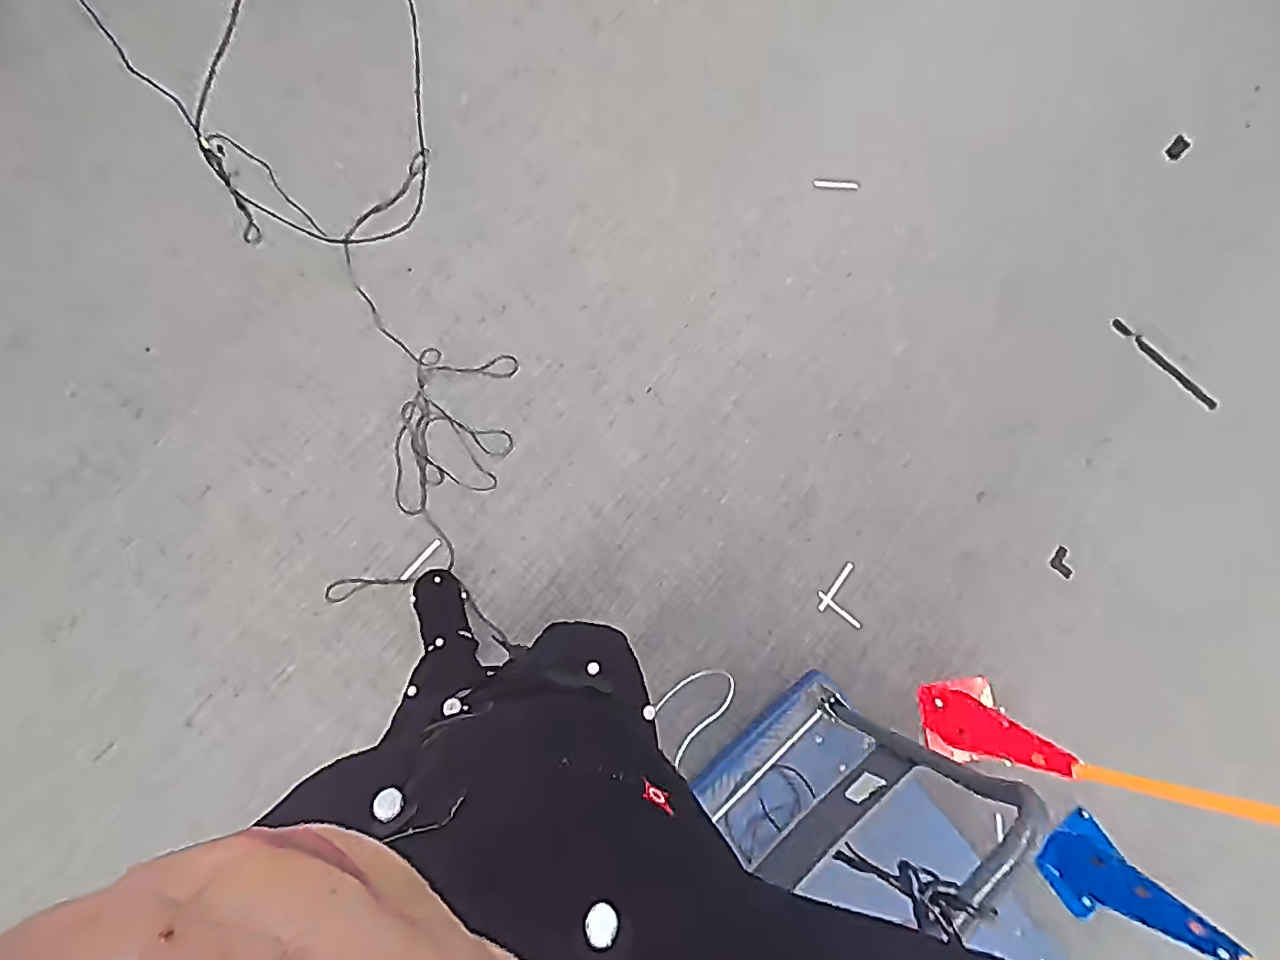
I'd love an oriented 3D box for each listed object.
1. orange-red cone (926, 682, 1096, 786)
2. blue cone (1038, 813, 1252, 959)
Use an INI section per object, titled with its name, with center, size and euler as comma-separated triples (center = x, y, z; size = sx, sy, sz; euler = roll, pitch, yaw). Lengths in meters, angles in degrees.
[orange-red cone]
center = 0.847, 0.599, 1.212
size = 0.198, 0.360, 0.199
euler = -4, 82, -5
[blue cone]
center = 1.129, 0.942, 1.196
size = 0.193, 0.380, 0.192
euler = -34, 84, -10
